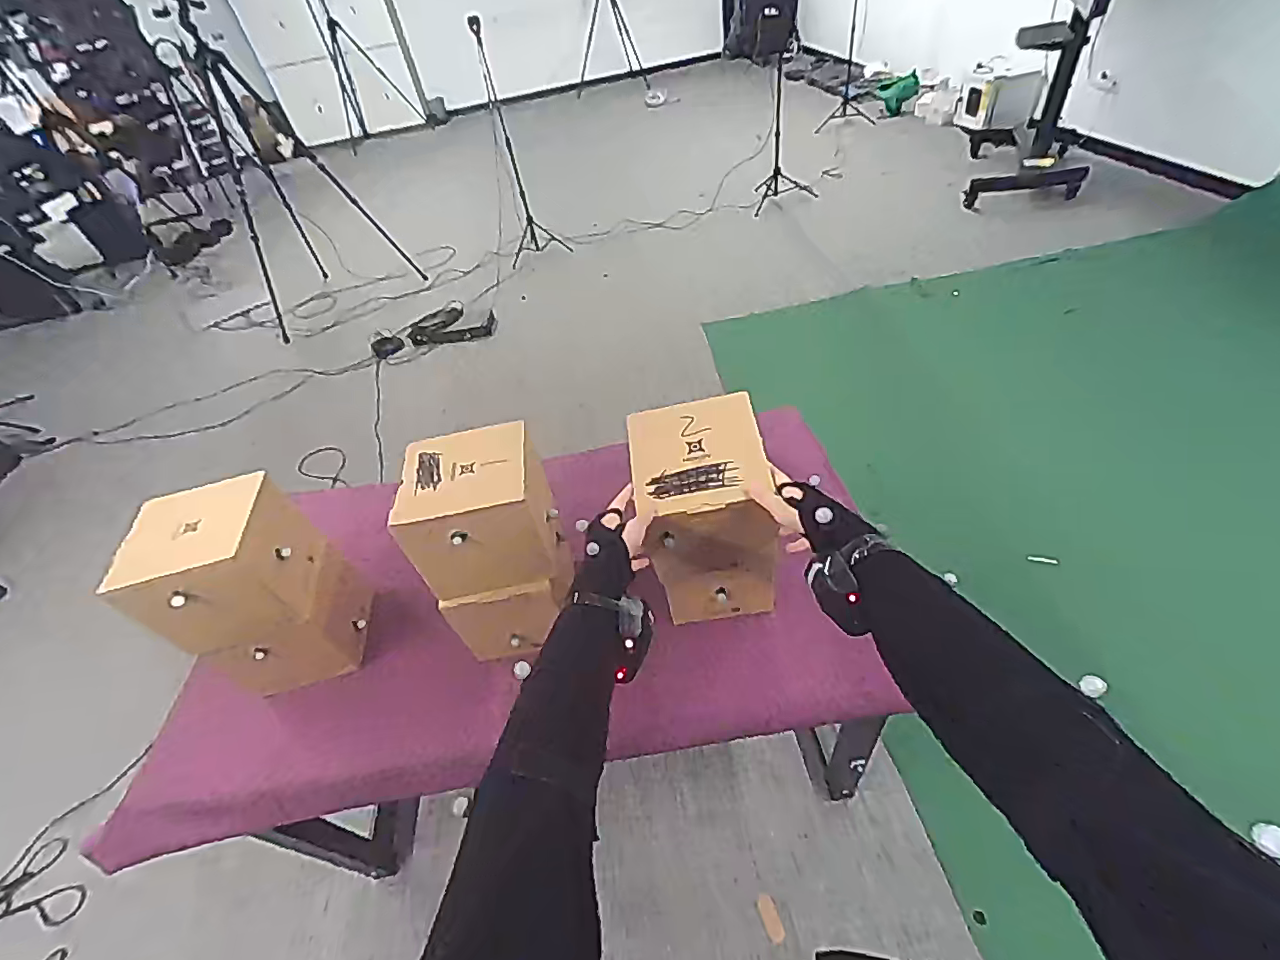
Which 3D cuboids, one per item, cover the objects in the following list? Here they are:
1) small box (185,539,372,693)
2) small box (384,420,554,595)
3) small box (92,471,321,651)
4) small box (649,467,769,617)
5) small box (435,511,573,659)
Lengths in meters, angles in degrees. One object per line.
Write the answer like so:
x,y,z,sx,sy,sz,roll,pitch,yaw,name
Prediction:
-0.582,0.229,0.898,0.179,0.176,0.168,-14,46,-3,small box
-0.231,0.043,0.775,0.179,0.176,0.168,-12,44,-1,small box
-0.599,0.119,0.781,0.179,0.176,0.168,-16,46,-4,small box
0.111,0.107,0.875,0.168,0.176,0.179,-9,45,3,small box
-0.209,0.165,0.884,0.168,0.176,0.179,-10,45,2,small box
